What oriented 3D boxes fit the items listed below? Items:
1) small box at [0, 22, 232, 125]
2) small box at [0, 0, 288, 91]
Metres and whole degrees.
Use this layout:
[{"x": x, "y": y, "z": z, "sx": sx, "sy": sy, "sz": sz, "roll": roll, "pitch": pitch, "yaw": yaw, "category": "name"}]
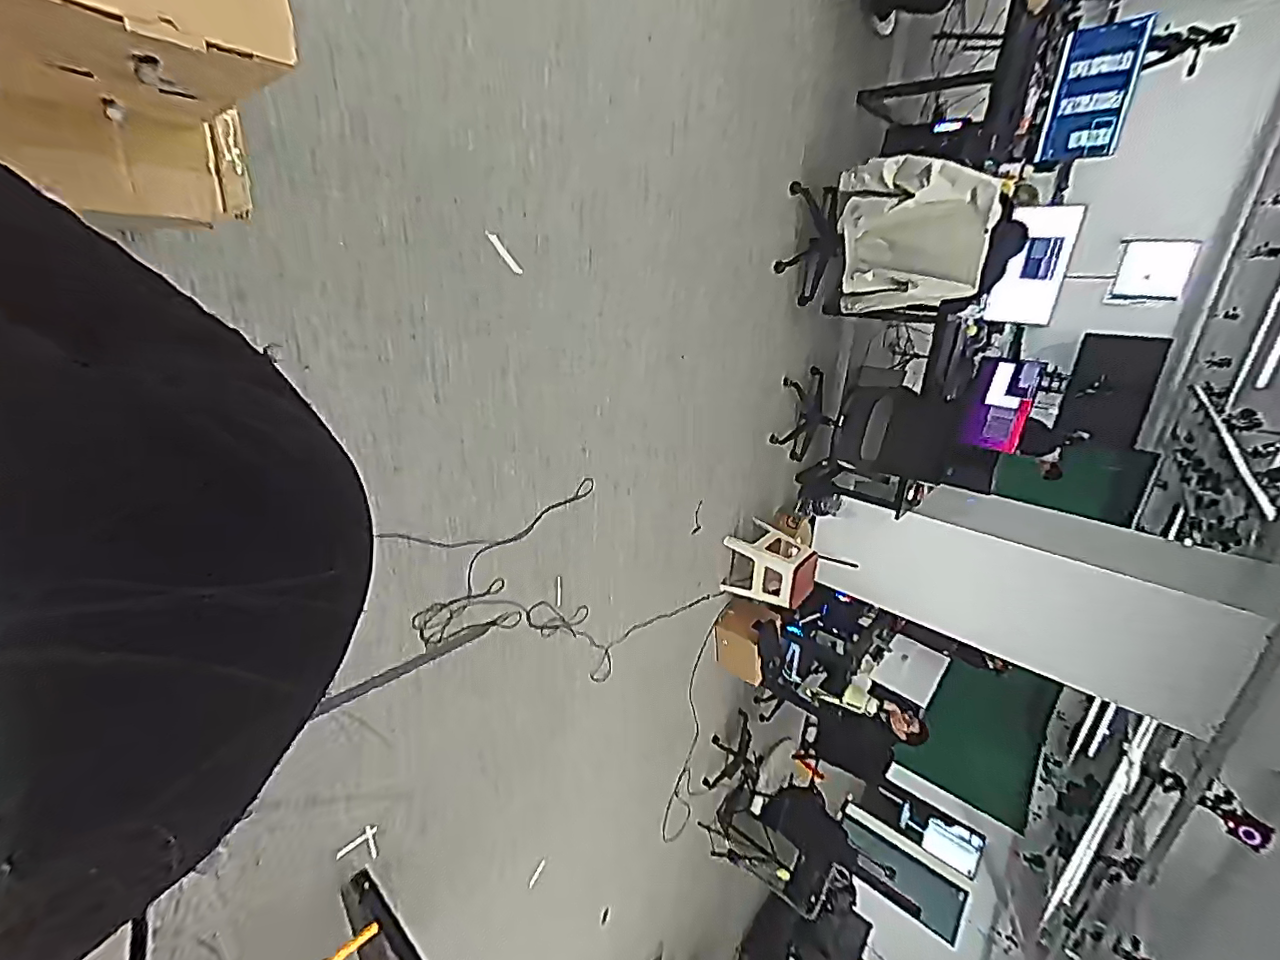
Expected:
[{"x": -0.515, "y": -0.457, "z": 0.501, "sx": 0.168, "sy": 0.176, "sz": 0.179, "roll": -18, "pitch": 120, "yaw": -45, "category": "small box"}, {"x": -0.389, "y": -0.419, "z": 0.400, "sx": 0.168, "sy": 0.176, "sz": 0.179, "roll": -17, "pitch": 120, "yaw": -47, "category": "small box"}]
